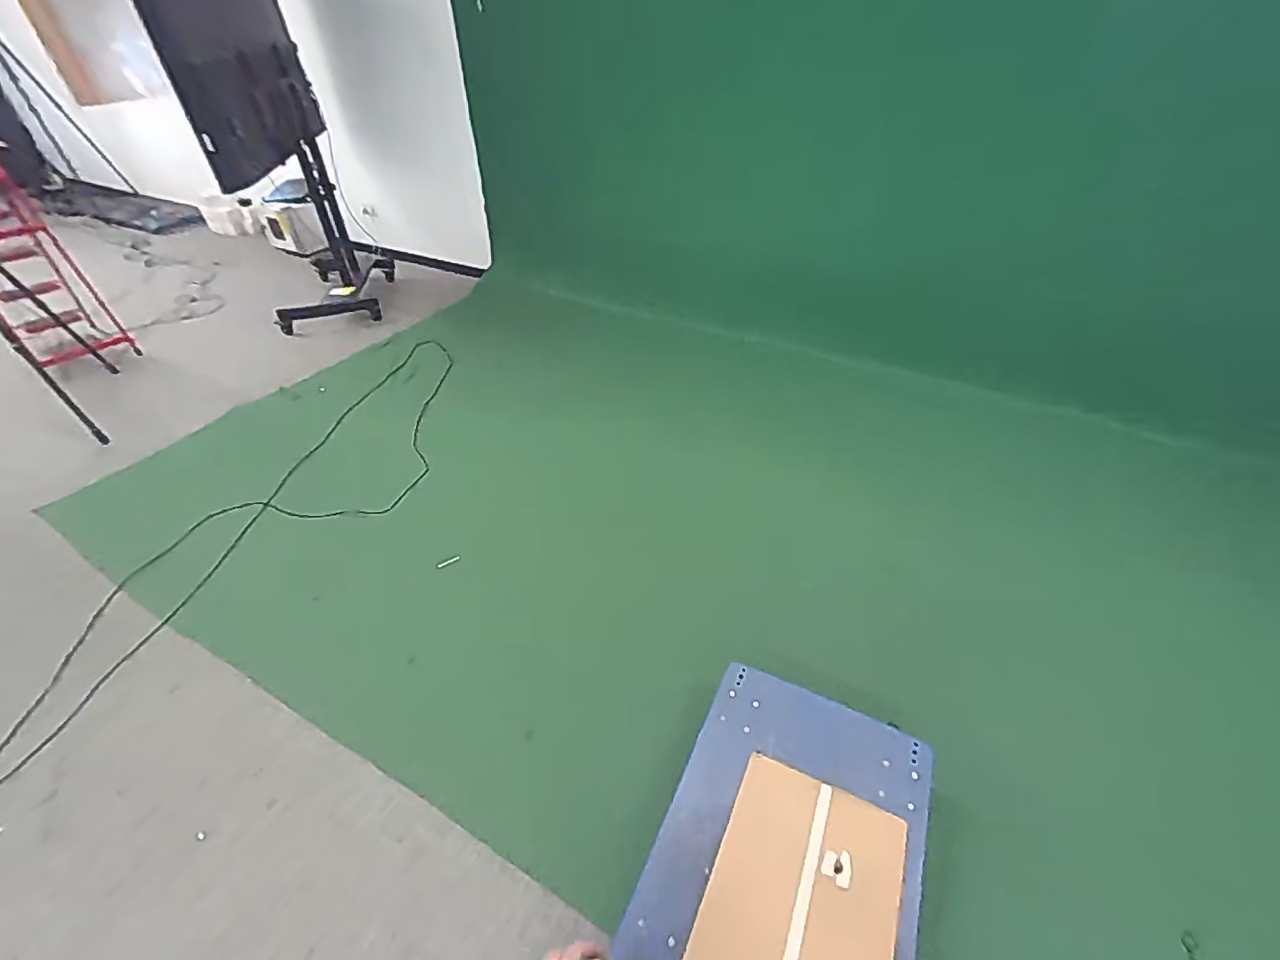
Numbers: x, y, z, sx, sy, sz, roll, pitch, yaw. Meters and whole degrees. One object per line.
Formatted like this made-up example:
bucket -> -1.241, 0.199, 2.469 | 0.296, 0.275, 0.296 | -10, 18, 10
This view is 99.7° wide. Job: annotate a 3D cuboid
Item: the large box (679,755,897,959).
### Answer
large box -> 0.281, 0.855, 1.058 | 0.320, 0.320, 0.408 | 18, 43, 20
